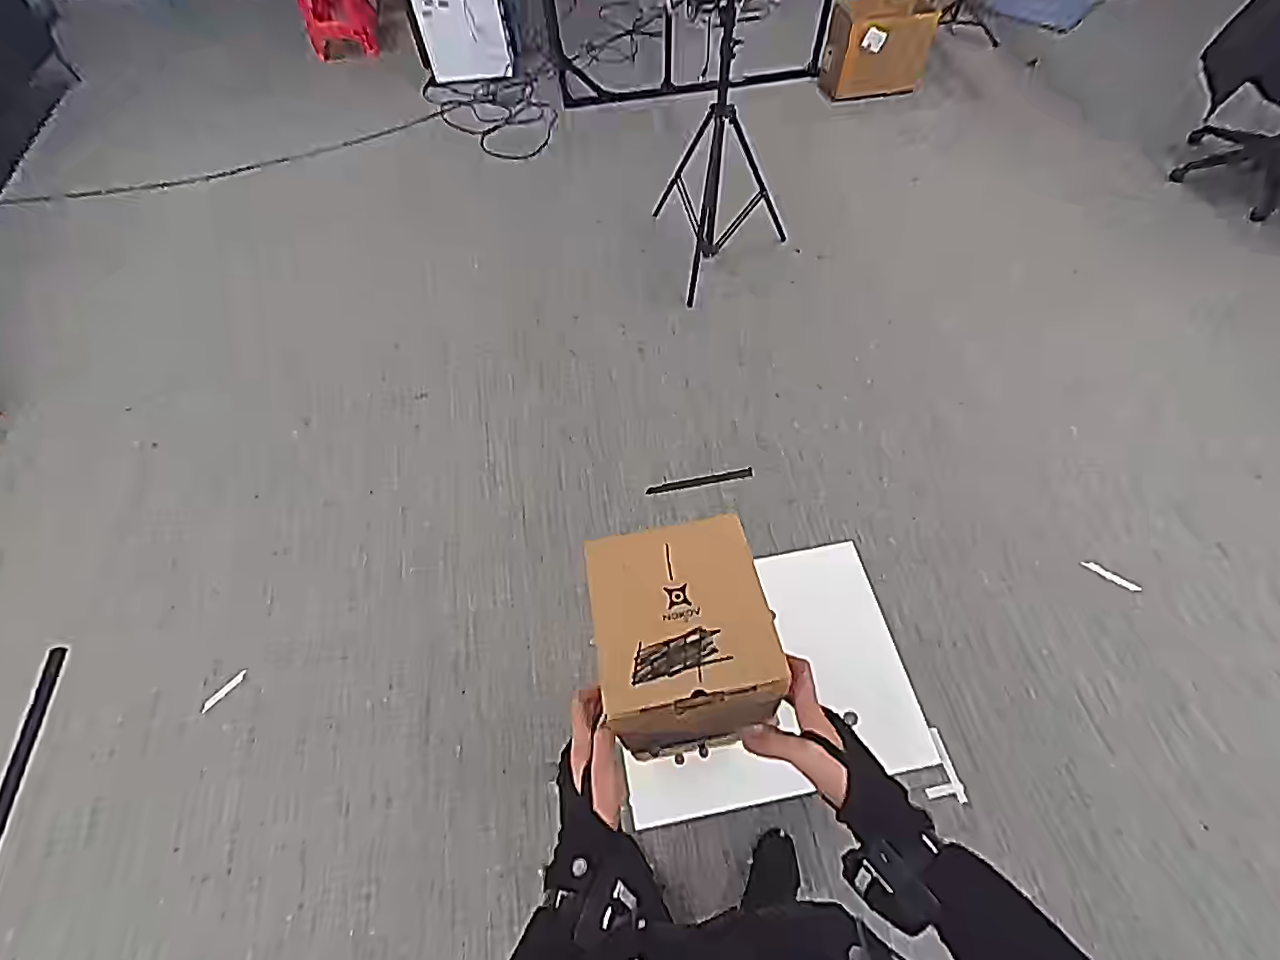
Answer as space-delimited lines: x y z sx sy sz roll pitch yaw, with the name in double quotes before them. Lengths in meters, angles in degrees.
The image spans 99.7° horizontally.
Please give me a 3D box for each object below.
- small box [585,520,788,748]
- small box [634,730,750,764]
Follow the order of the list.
"small box" 0.044 0.170 0.572 0.168 0.176 0.179 -11 54 -2
"small box" 0.066 0.344 0.861 0.168 0.176 0.179 -9 60 -3
